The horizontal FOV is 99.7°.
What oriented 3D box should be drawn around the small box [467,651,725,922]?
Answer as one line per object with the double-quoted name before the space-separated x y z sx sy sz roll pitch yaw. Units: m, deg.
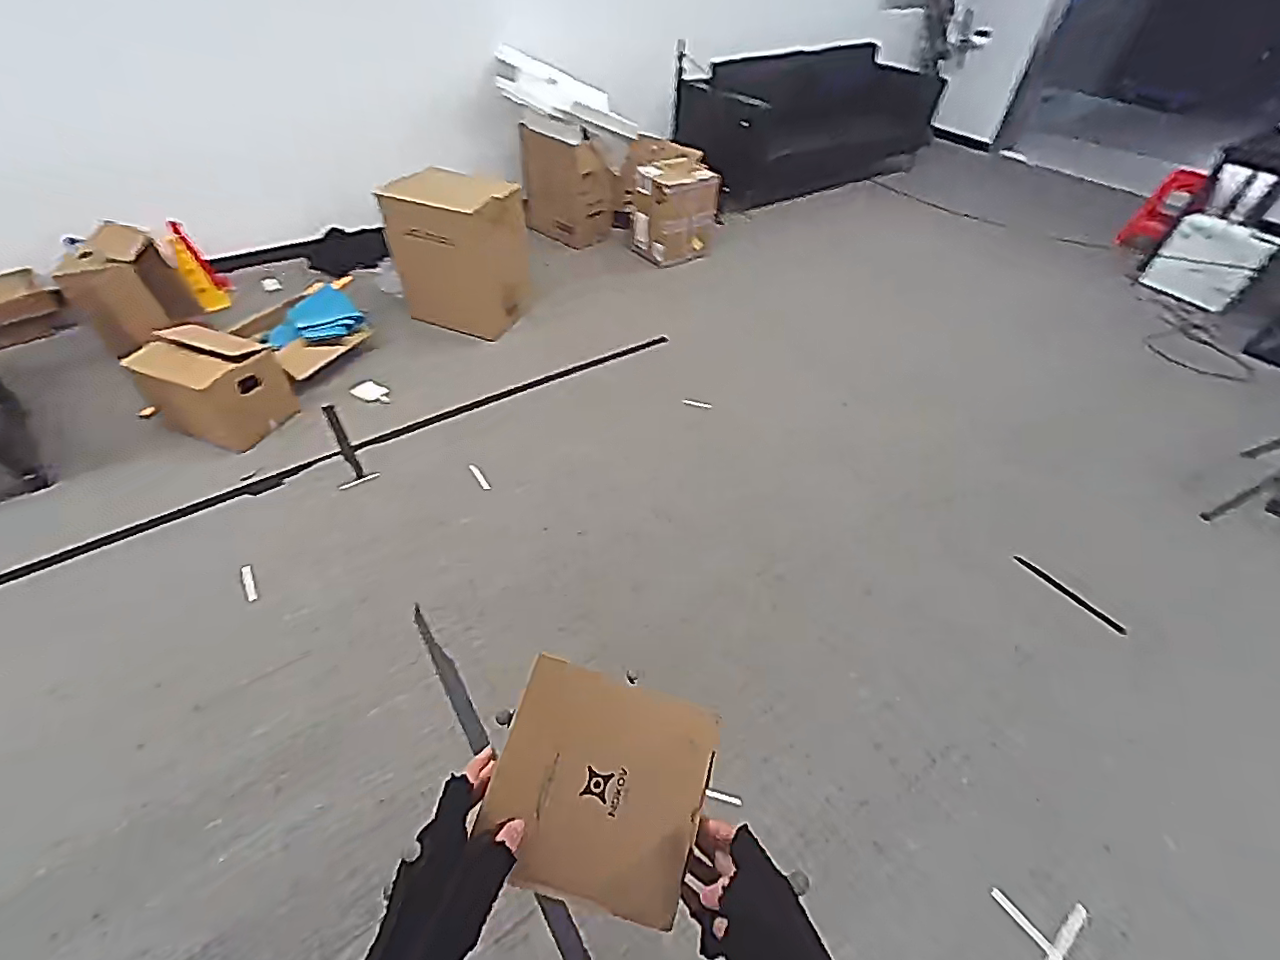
"small box" -0.042 0.273 0.520 0.179 0.176 0.168 19 68 -3
